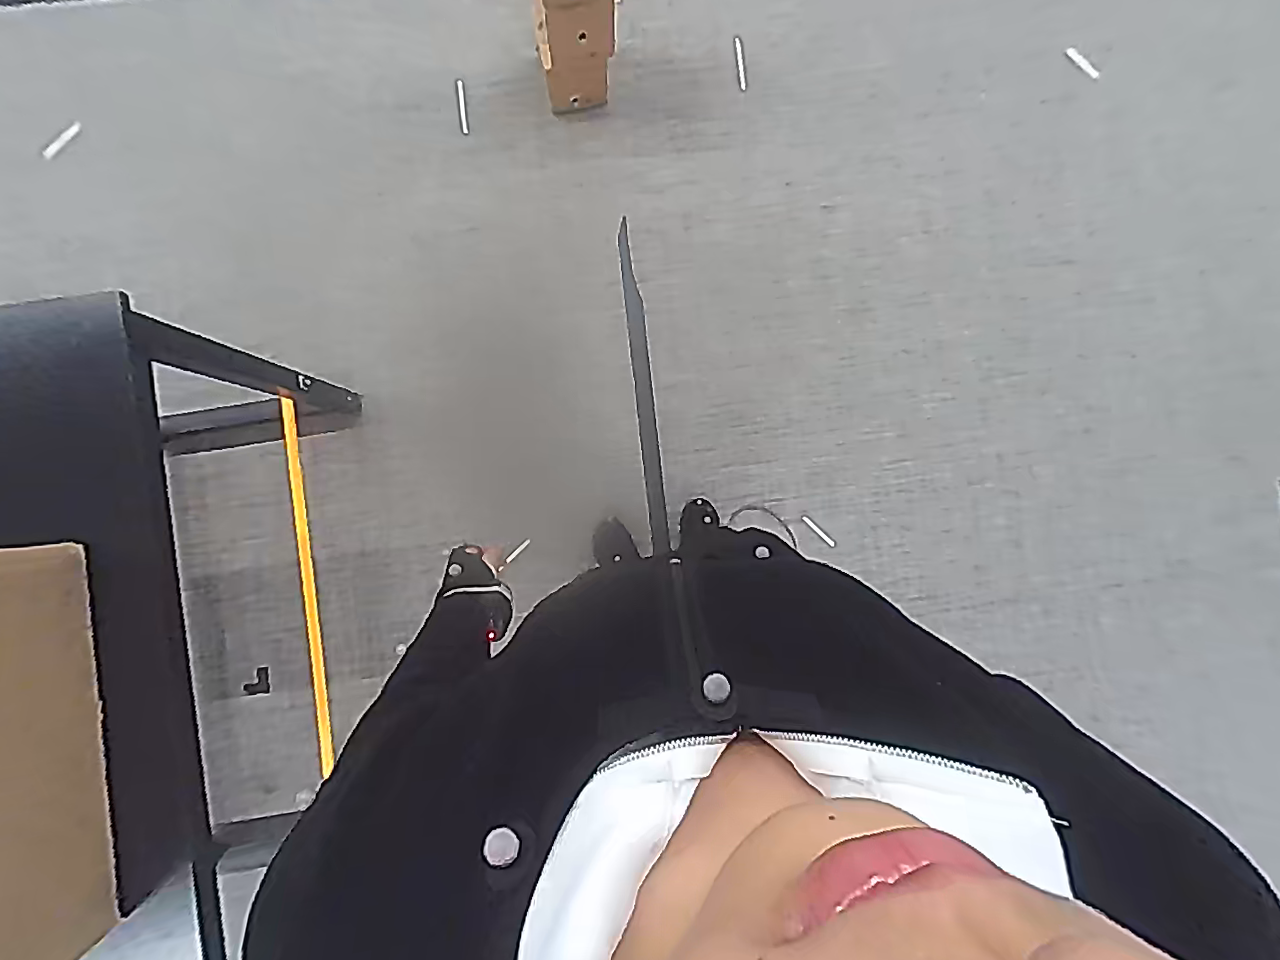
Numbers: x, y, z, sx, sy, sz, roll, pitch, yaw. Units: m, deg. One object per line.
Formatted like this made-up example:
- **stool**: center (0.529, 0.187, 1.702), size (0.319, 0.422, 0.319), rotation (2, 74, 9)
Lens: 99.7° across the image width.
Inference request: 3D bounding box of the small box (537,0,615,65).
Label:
- **small box**: center (-0.158, -1.136, 1.287), size (0.168, 0.176, 0.179), rotation (-15, 90, -2)

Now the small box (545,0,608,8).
- **small box**: center (-0.144, -1.145, 1.122), size (0.168, 0.176, 0.179), rotation (-10, 89, -1)

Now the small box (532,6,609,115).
- **small box**: center (-0.181, -1.130, 1.450), size (0.168, 0.176, 0.179), rotation (-14, 90, -1)
